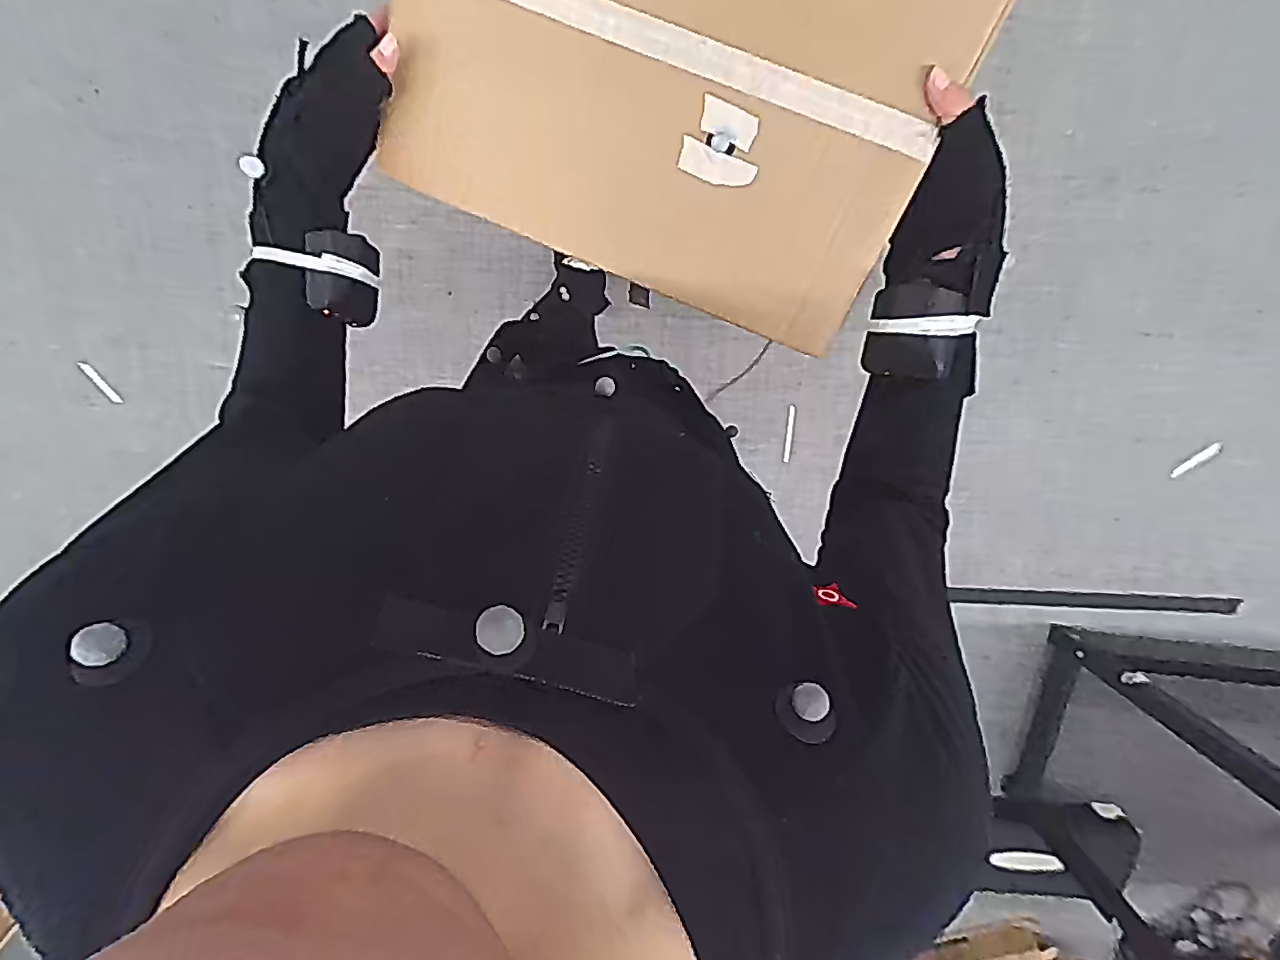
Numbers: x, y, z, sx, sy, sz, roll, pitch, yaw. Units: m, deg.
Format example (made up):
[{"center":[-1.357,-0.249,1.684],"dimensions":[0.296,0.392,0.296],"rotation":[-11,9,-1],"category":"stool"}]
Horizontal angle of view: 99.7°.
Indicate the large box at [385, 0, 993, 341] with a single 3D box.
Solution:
[{"center":[0.040,-0.373,0.518],"dimensions":[0.408,0.320,0.320],"rotation":[22,118,1],"category":"large box"}]
